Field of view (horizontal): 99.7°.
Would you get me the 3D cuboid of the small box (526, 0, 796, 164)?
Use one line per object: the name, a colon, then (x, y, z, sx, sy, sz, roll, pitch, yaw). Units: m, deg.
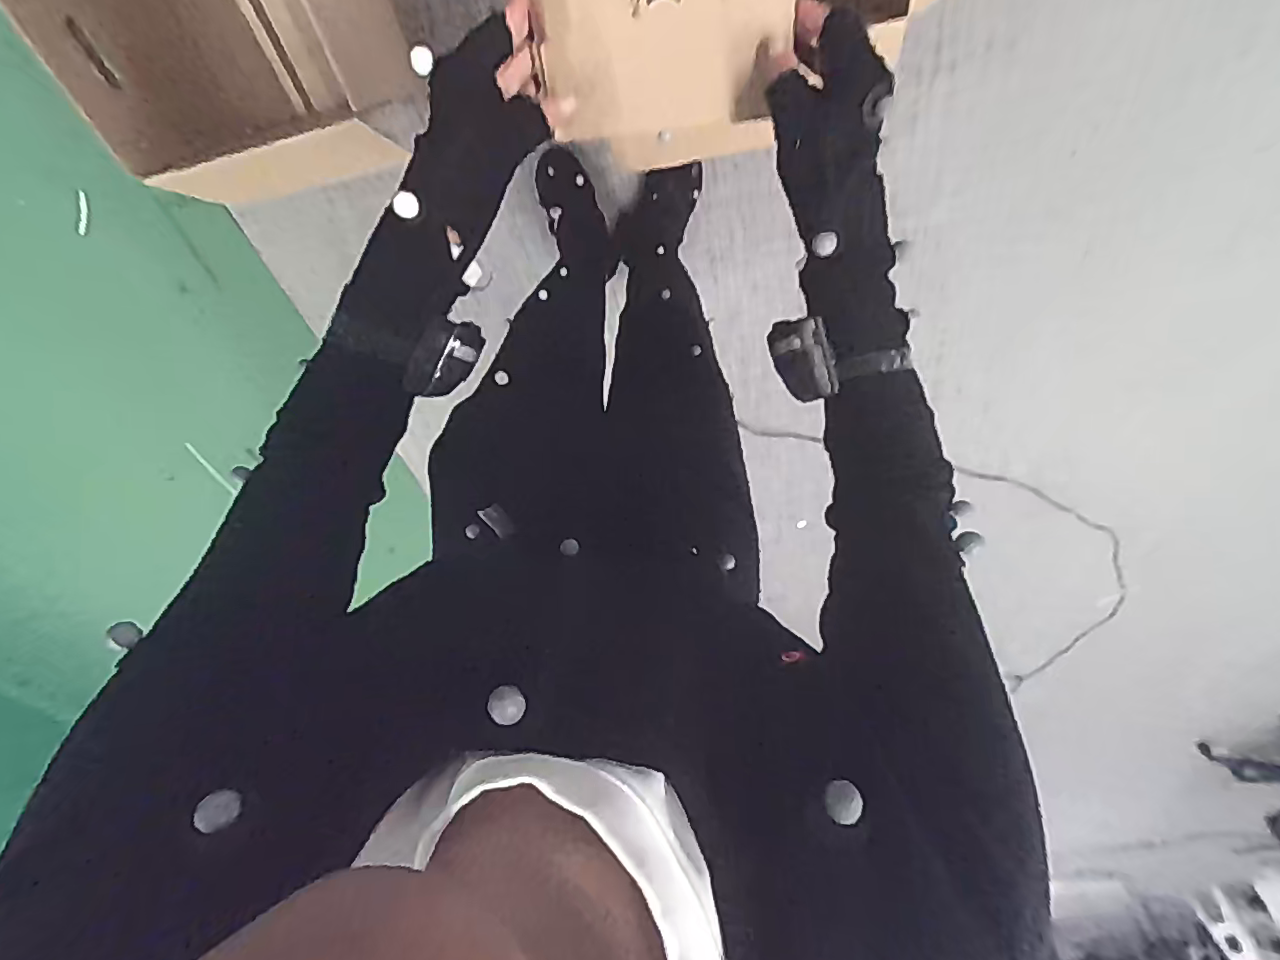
small box: (0.020, -0.358, 0.408, 0.179, 0.176, 0.168, -3, 132, 9)
